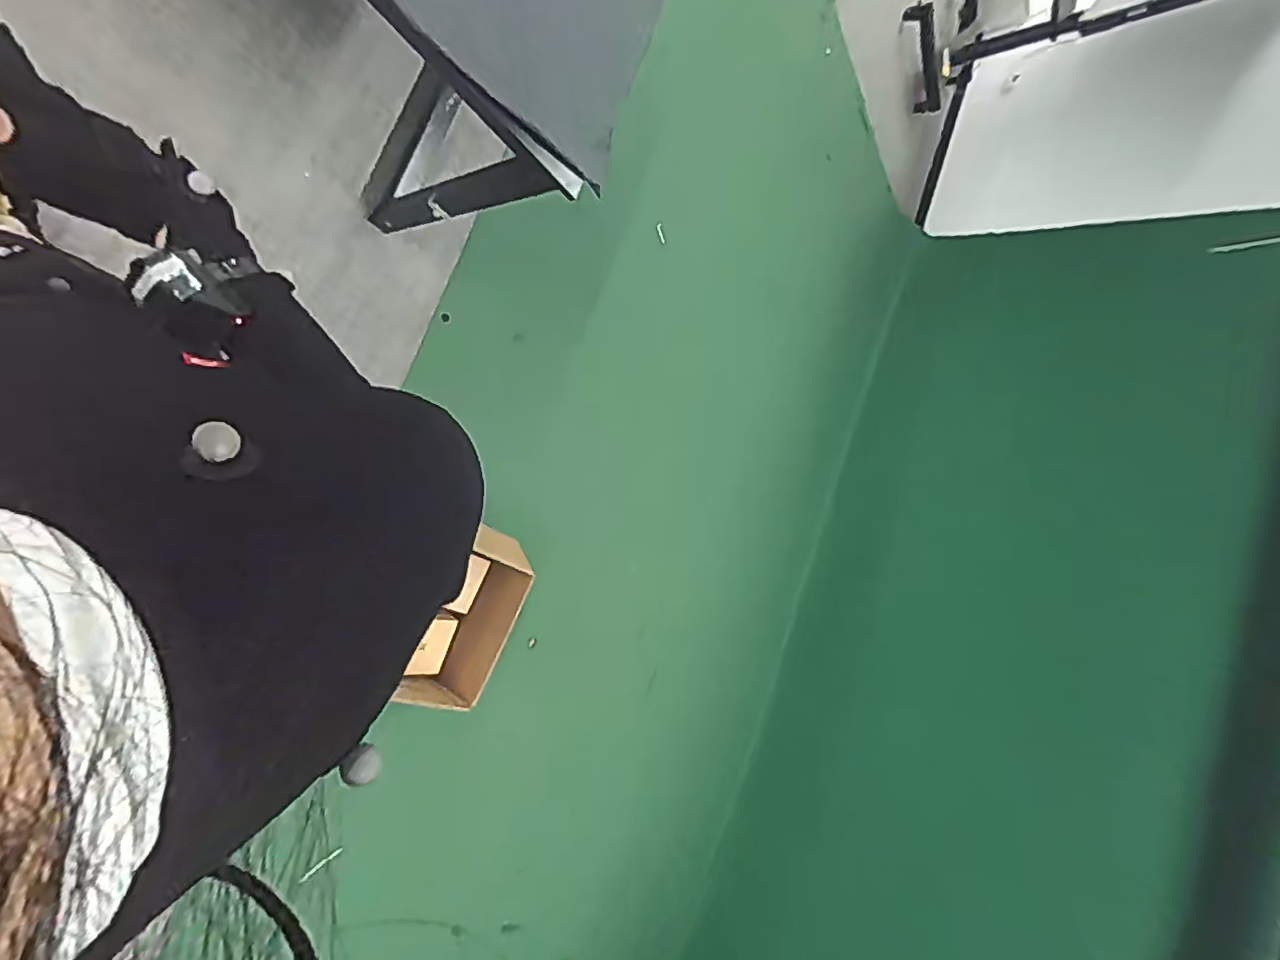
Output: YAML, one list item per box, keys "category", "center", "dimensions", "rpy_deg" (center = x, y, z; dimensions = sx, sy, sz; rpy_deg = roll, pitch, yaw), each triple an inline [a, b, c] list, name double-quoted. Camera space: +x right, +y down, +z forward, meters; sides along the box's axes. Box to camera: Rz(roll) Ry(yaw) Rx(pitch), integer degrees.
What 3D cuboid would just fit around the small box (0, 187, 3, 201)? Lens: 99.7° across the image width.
- category: "small box"
  center: [-0.434, -0.225, 0.234]
  dimensions: [0.168, 0.176, 0.179]
  rpy_deg: [-20, 124, -42]
